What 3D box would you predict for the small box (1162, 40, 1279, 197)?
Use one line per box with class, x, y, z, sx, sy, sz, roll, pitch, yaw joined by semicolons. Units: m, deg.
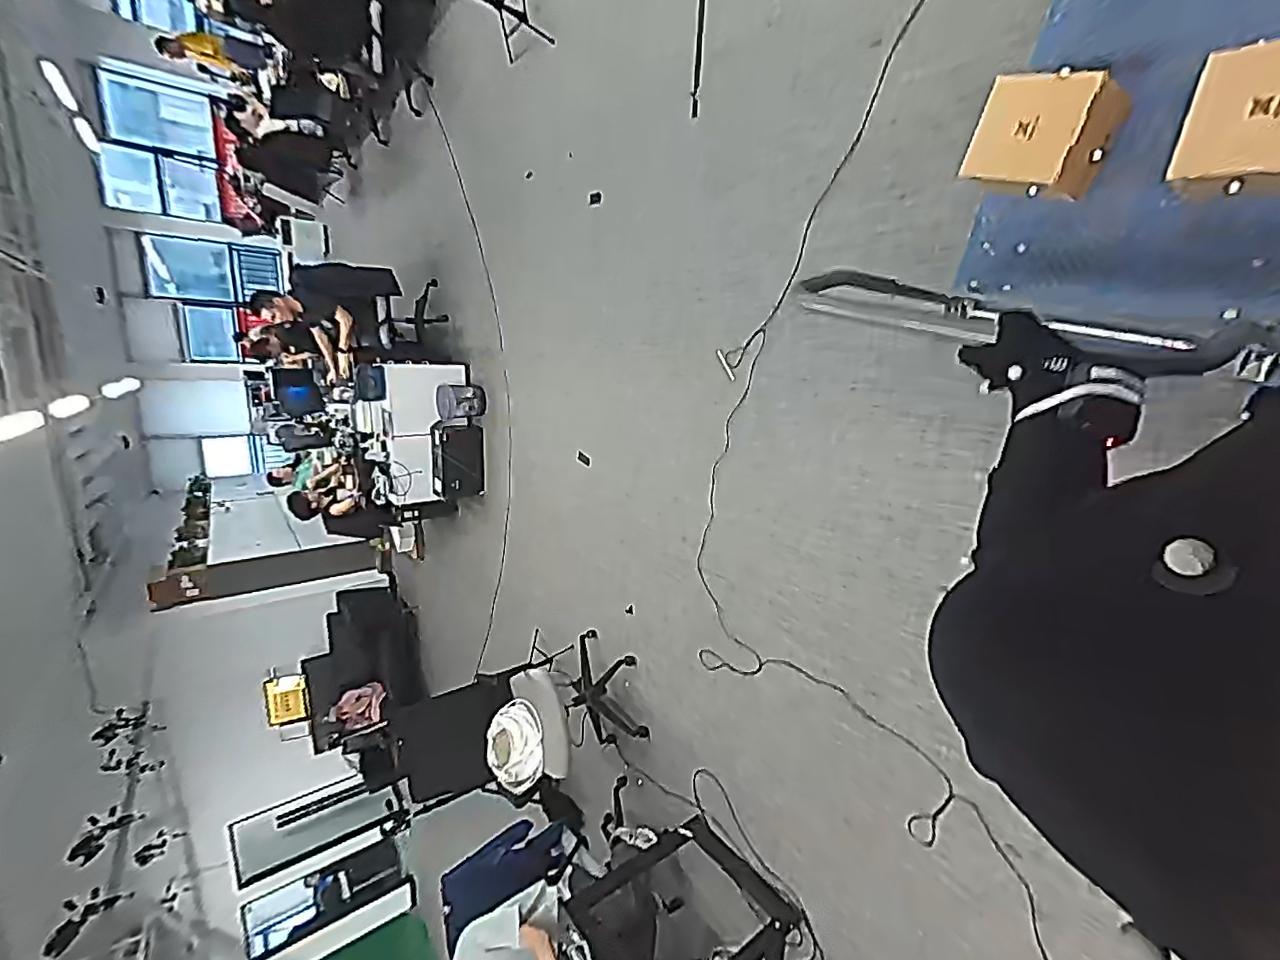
small box;0.935;-0.528;0.800;0.179;0.176;0.168;27;118;47
